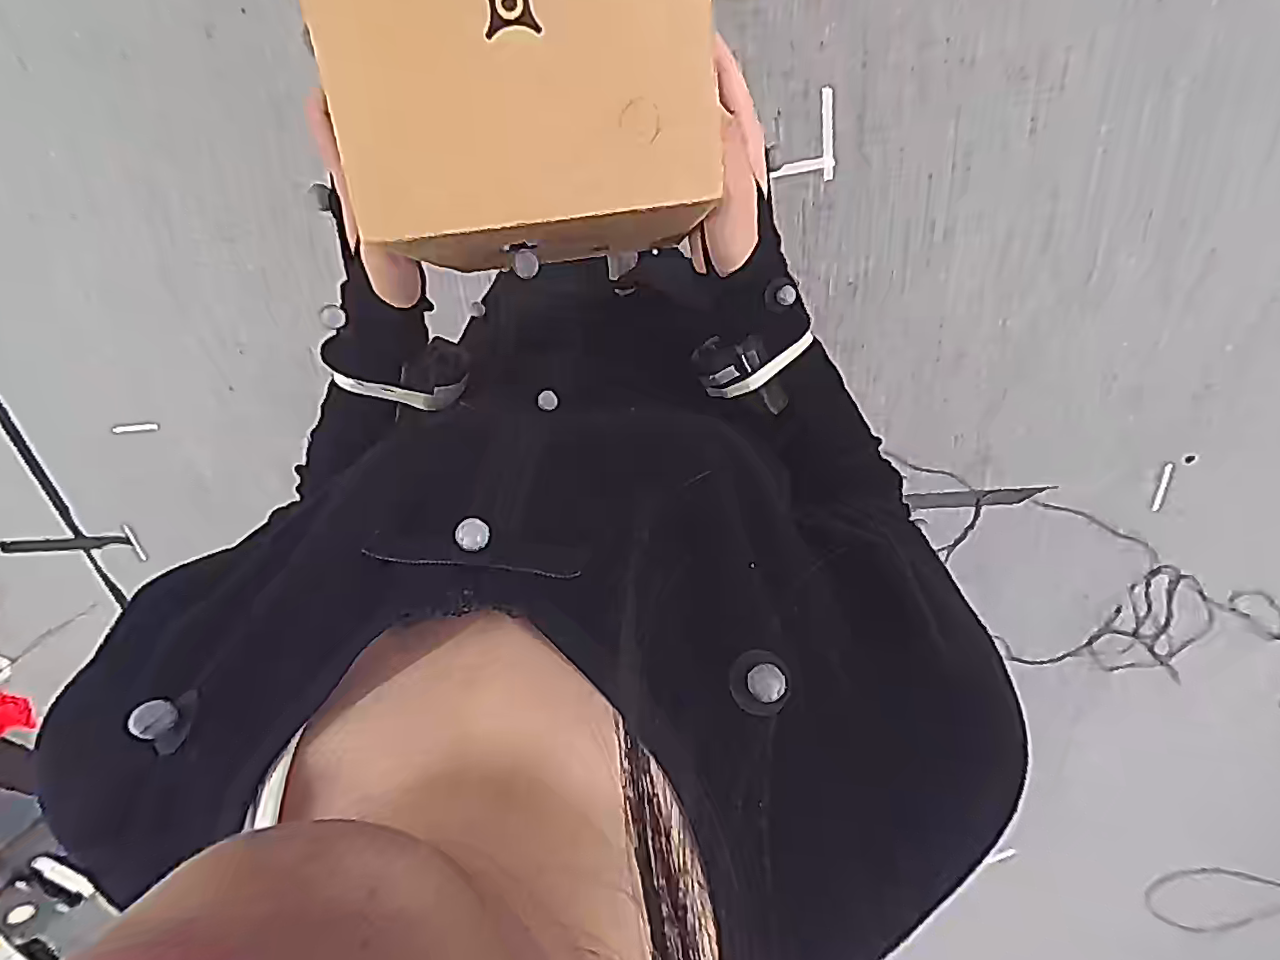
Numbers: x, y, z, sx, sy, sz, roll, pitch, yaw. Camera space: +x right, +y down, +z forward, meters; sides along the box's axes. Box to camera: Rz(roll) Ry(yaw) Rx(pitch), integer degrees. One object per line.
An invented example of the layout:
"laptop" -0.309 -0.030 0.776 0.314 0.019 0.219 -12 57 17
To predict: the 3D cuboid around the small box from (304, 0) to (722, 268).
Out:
"small box" -0.054 -0.217 0.293 0.168 0.176 0.179 -7 106 0
